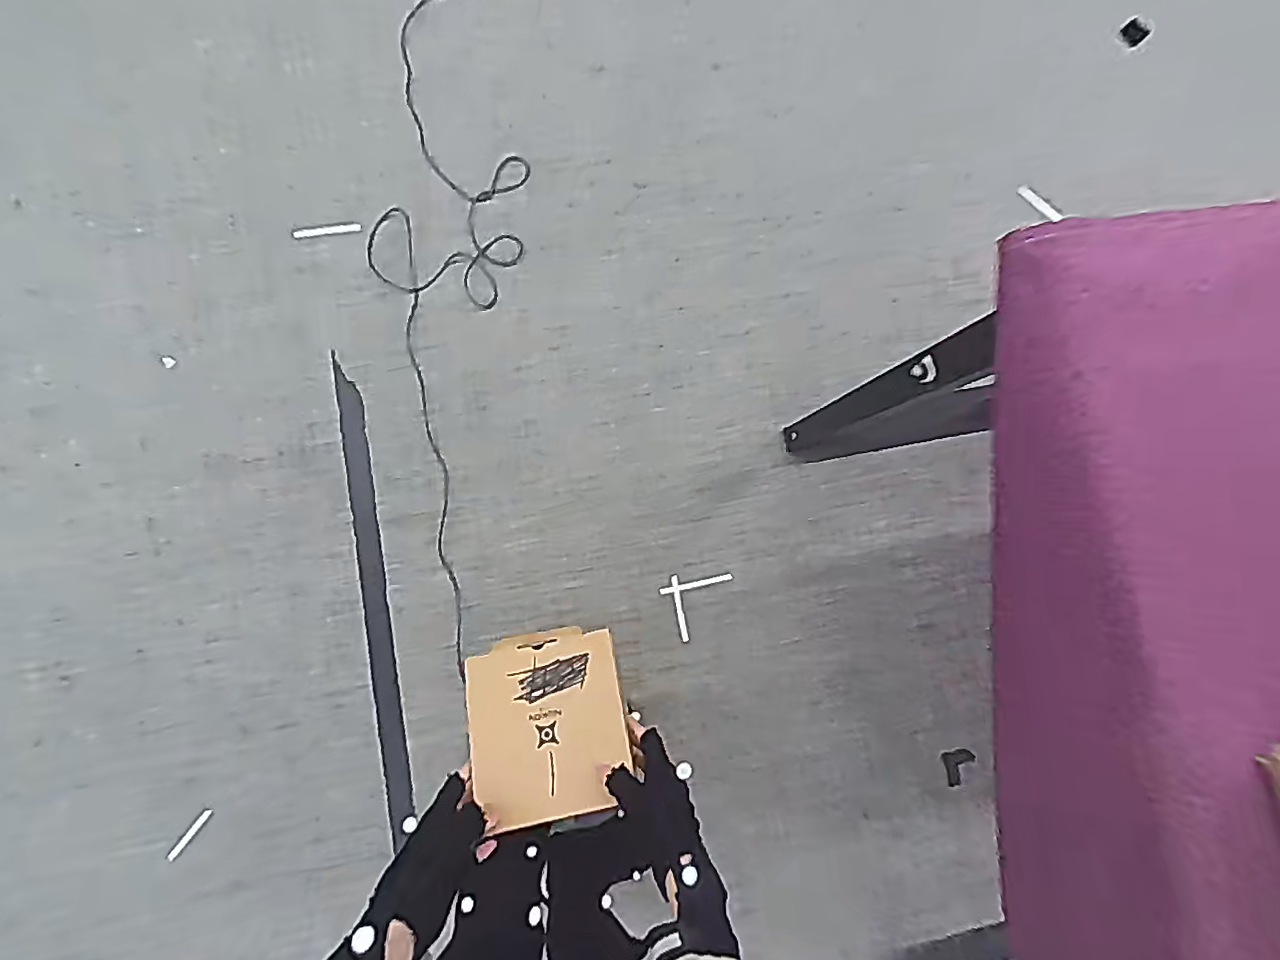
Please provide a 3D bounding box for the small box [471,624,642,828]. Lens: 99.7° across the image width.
[{"bbox_3d":[-0.094,0.288,0.645,0.168,0.176,0.179,-11,65,-4],"label":"small box"}]
